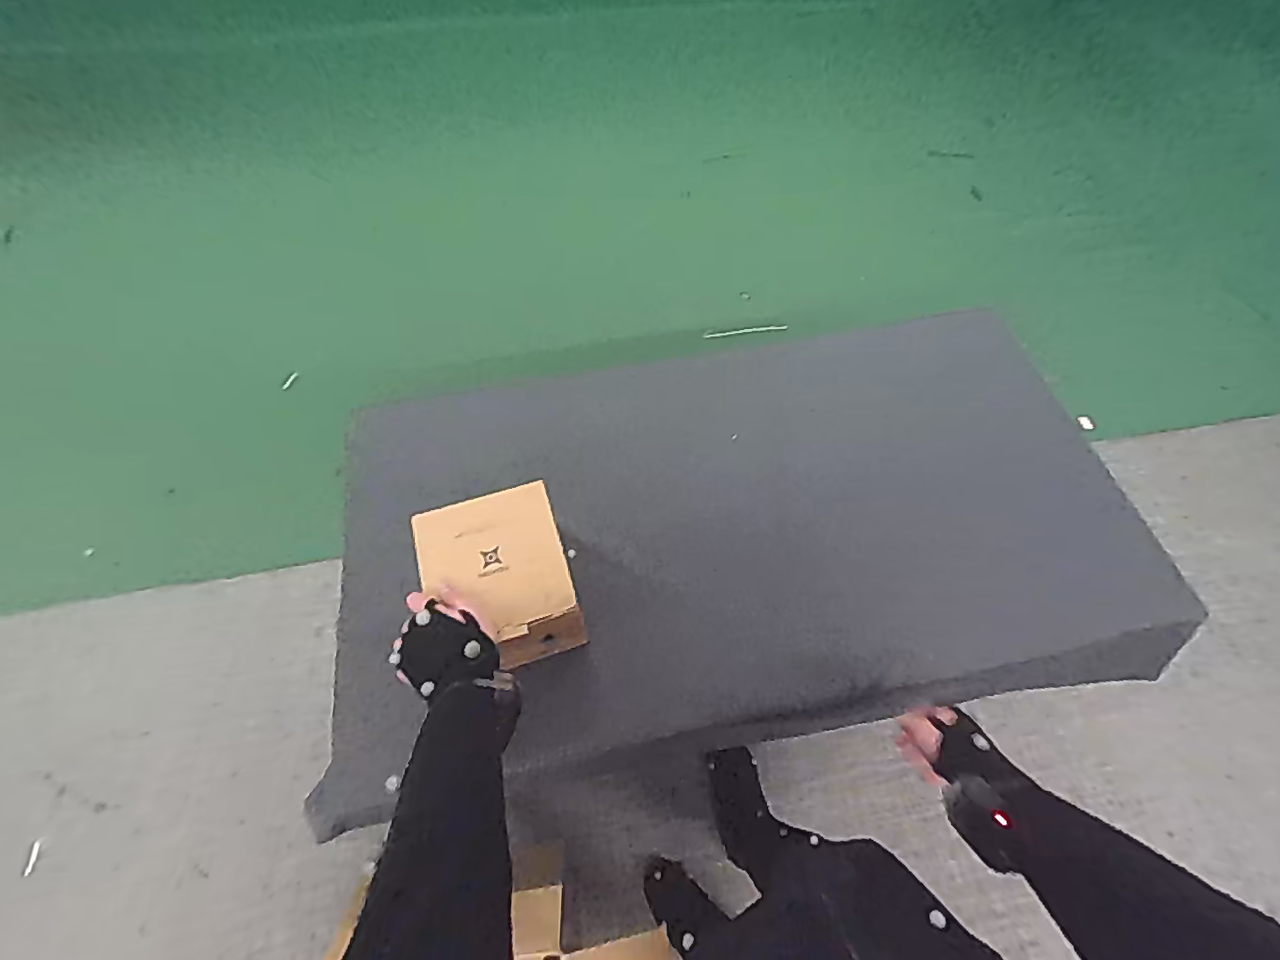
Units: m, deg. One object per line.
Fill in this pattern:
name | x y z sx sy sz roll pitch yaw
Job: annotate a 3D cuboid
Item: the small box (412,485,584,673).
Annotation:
small box | -0.176 0.137 0.705 0.168 0.176 0.179 -16 61 -10
